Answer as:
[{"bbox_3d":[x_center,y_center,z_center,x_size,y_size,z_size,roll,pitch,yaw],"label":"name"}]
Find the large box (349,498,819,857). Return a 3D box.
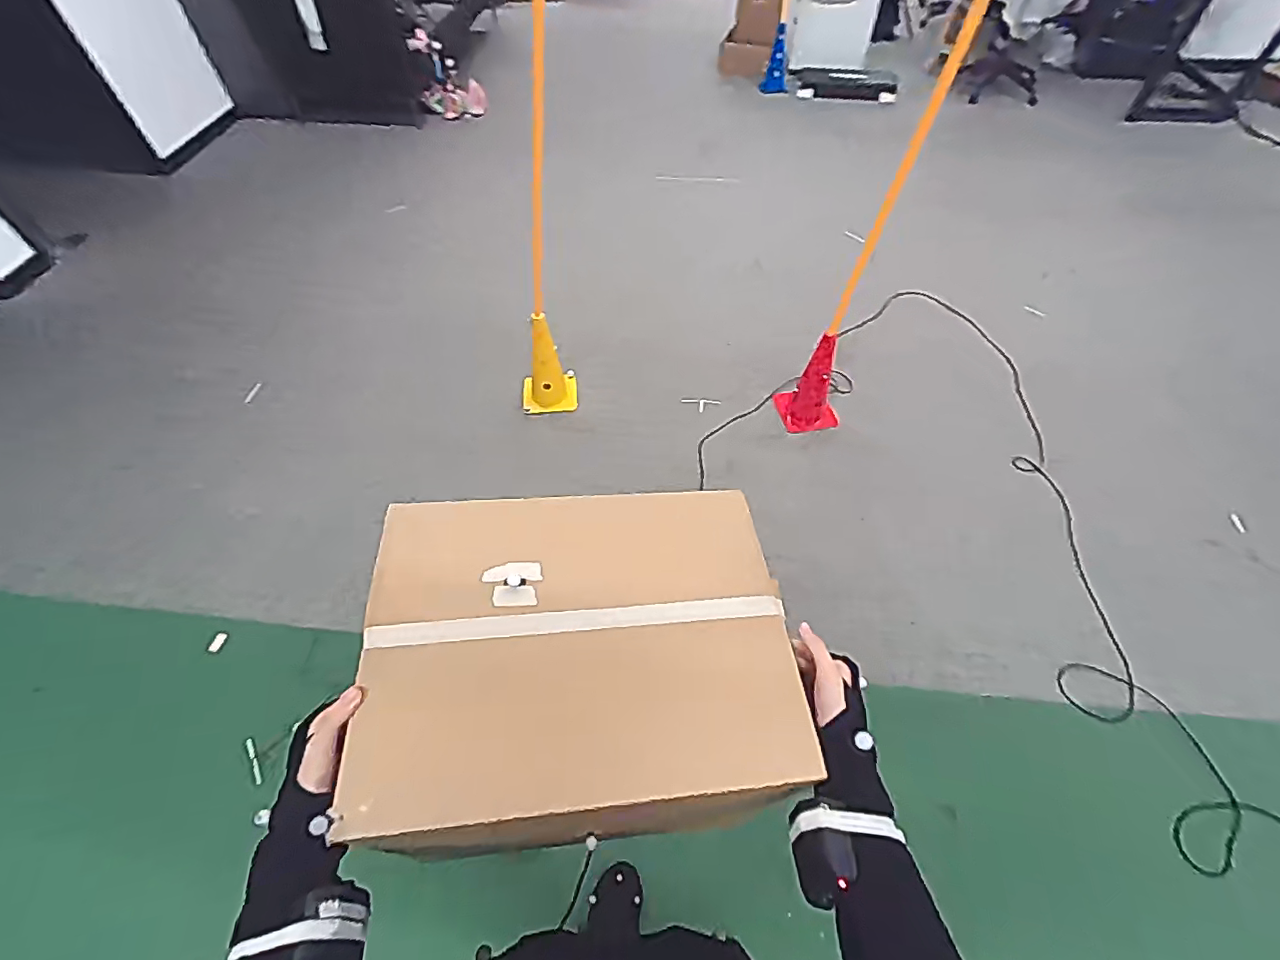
[{"bbox_3d":[-0.063,0.243,0.658,0.408,0.320,0.320,-2,52,-8],"label":"large box"}]
